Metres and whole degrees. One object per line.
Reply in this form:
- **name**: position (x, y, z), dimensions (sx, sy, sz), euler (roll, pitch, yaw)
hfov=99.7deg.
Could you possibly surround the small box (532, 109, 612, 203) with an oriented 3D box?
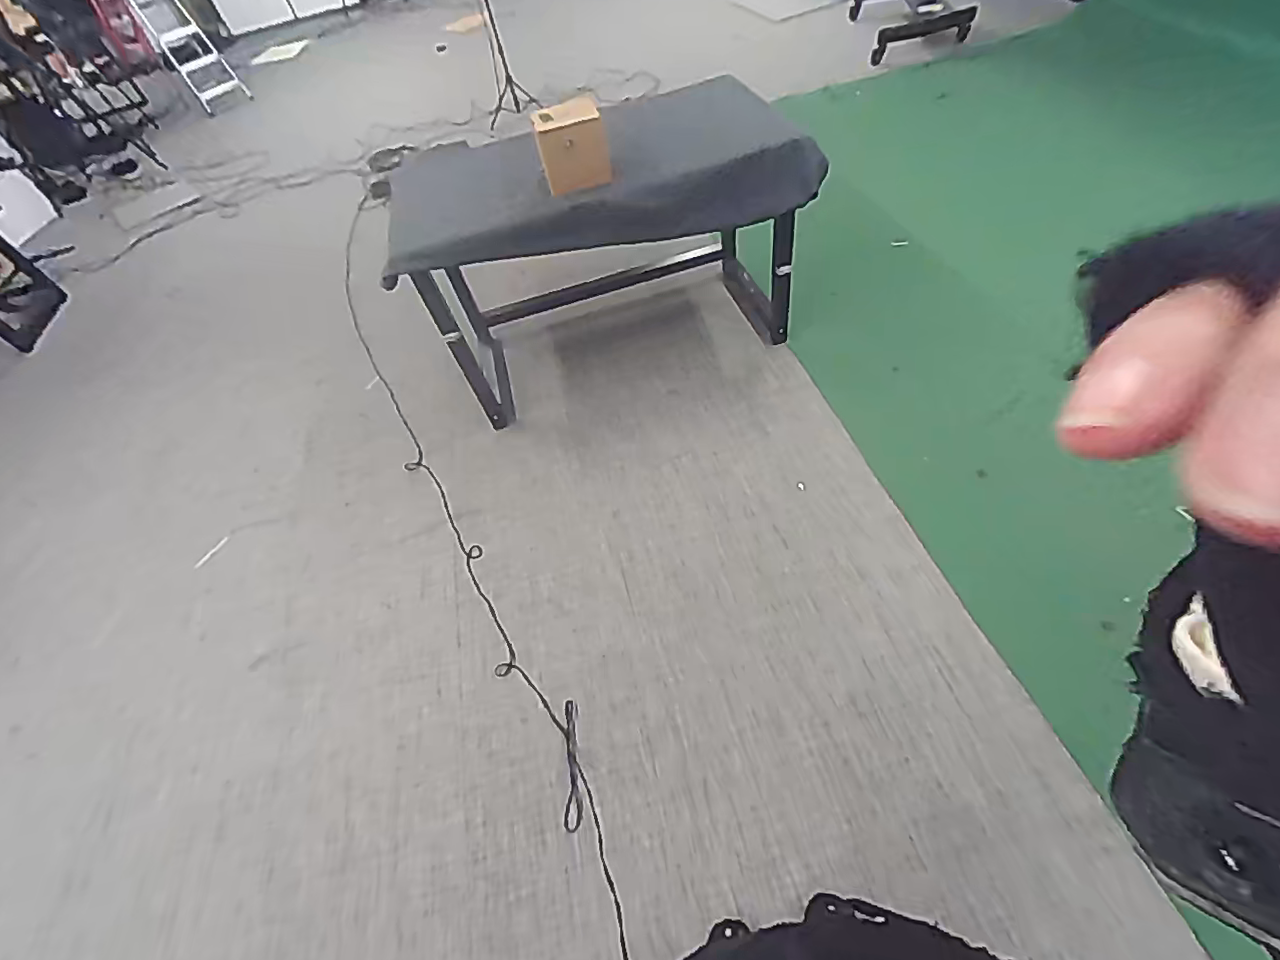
- **small box**: position (-0.192, -0.915, 1.535), dimensions (0.179, 0.176, 0.168), euler (-16, 52, -2)
